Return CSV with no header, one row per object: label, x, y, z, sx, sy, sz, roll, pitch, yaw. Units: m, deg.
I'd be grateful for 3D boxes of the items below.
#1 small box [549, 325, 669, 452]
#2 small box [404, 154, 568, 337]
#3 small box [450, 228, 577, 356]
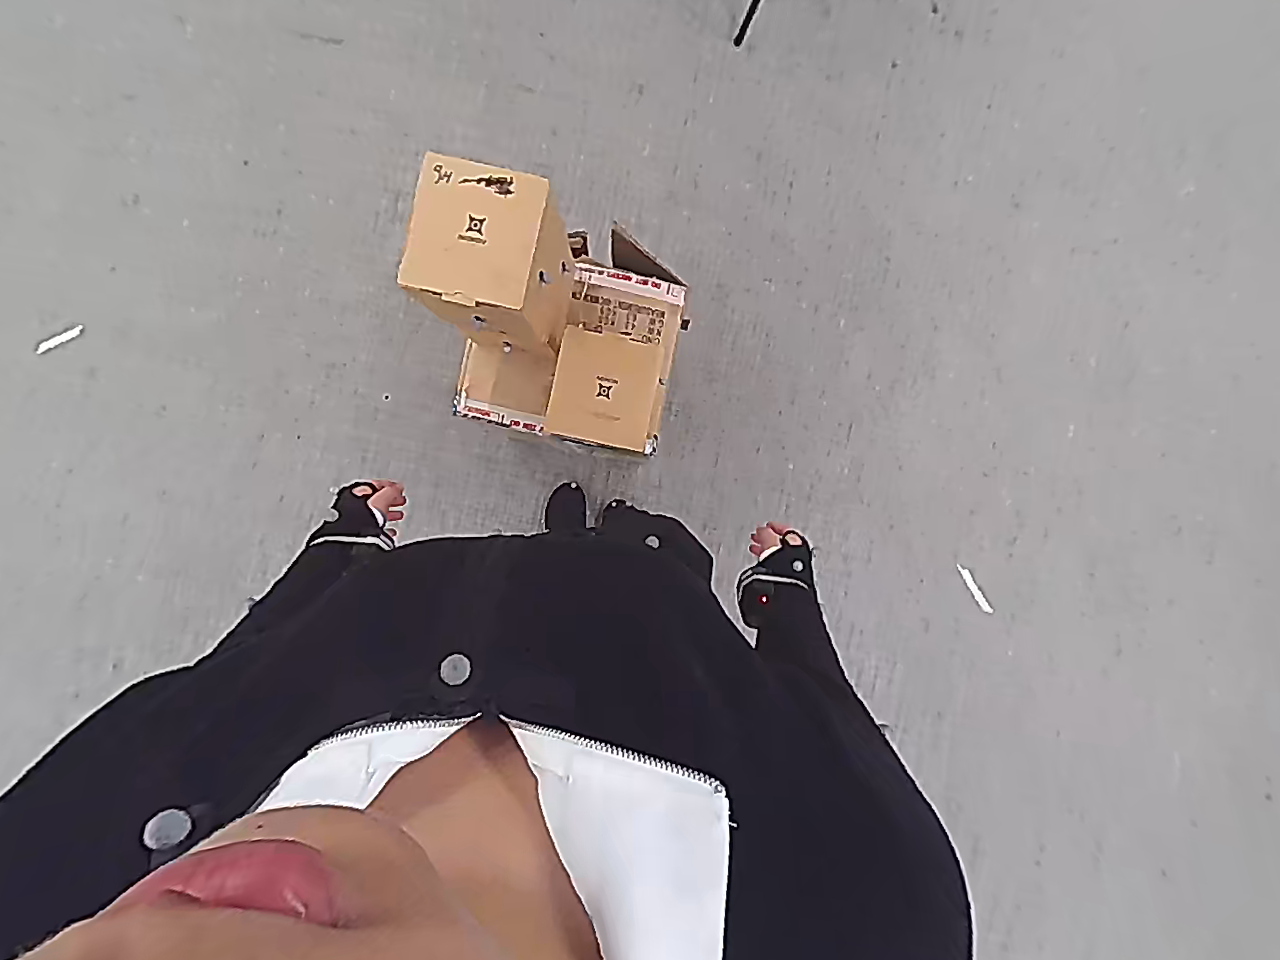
small box,-0.051,-0.150,0.942,0.168,0.176,0.179,11,92,0
small box,-0.206,-0.317,0.769,0.168,0.176,0.179,13,92,0
small box,-0.209,-0.329,0.934,0.168,0.176,0.179,11,91,0
